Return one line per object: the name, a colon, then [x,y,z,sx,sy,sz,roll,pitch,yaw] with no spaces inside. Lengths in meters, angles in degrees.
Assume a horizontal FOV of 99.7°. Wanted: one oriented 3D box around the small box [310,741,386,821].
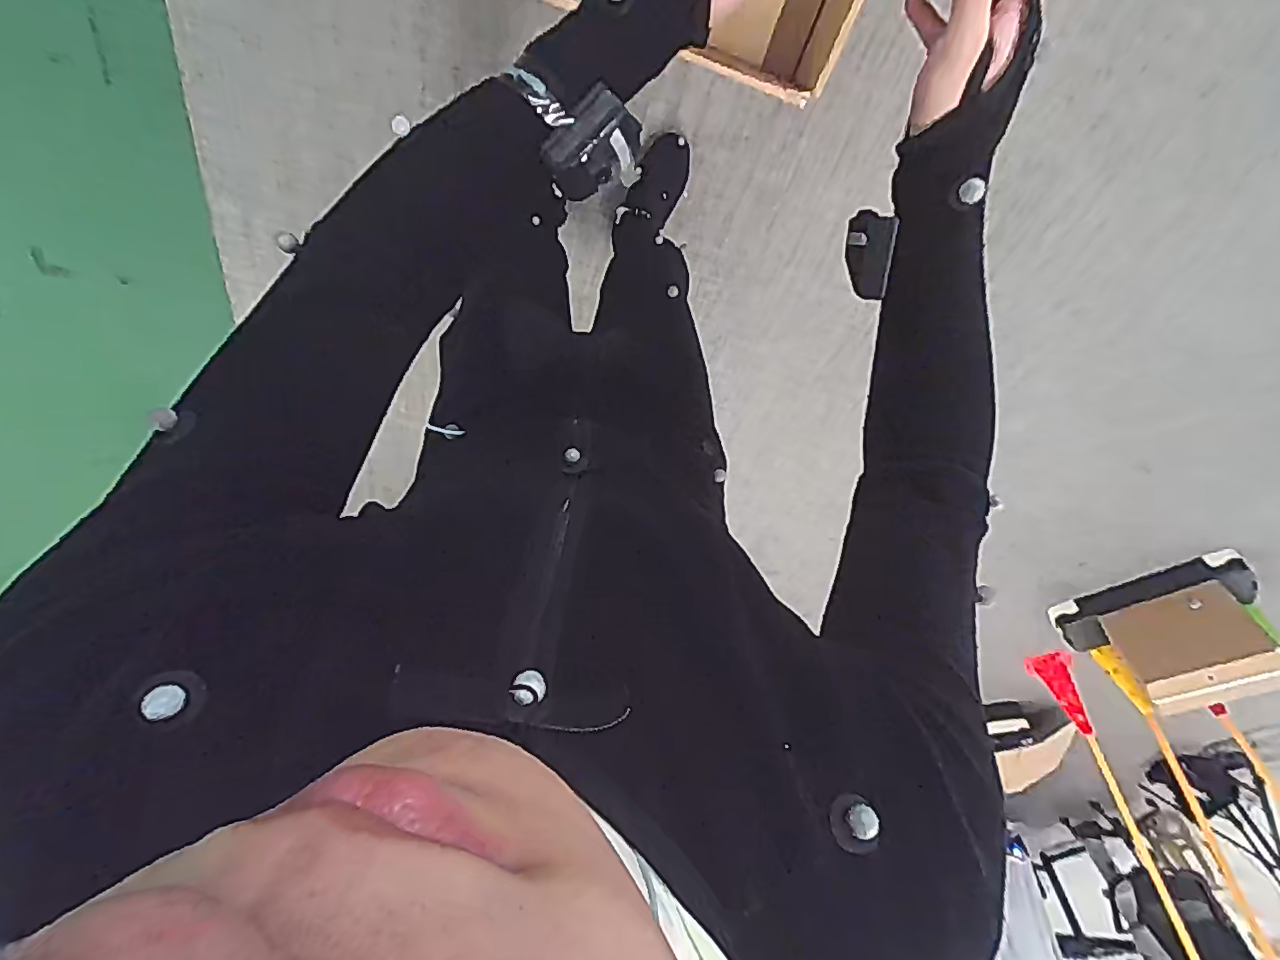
small box: [-0.916,0.953,1.711,0.168,0.176,0.179,14,131,-12]
